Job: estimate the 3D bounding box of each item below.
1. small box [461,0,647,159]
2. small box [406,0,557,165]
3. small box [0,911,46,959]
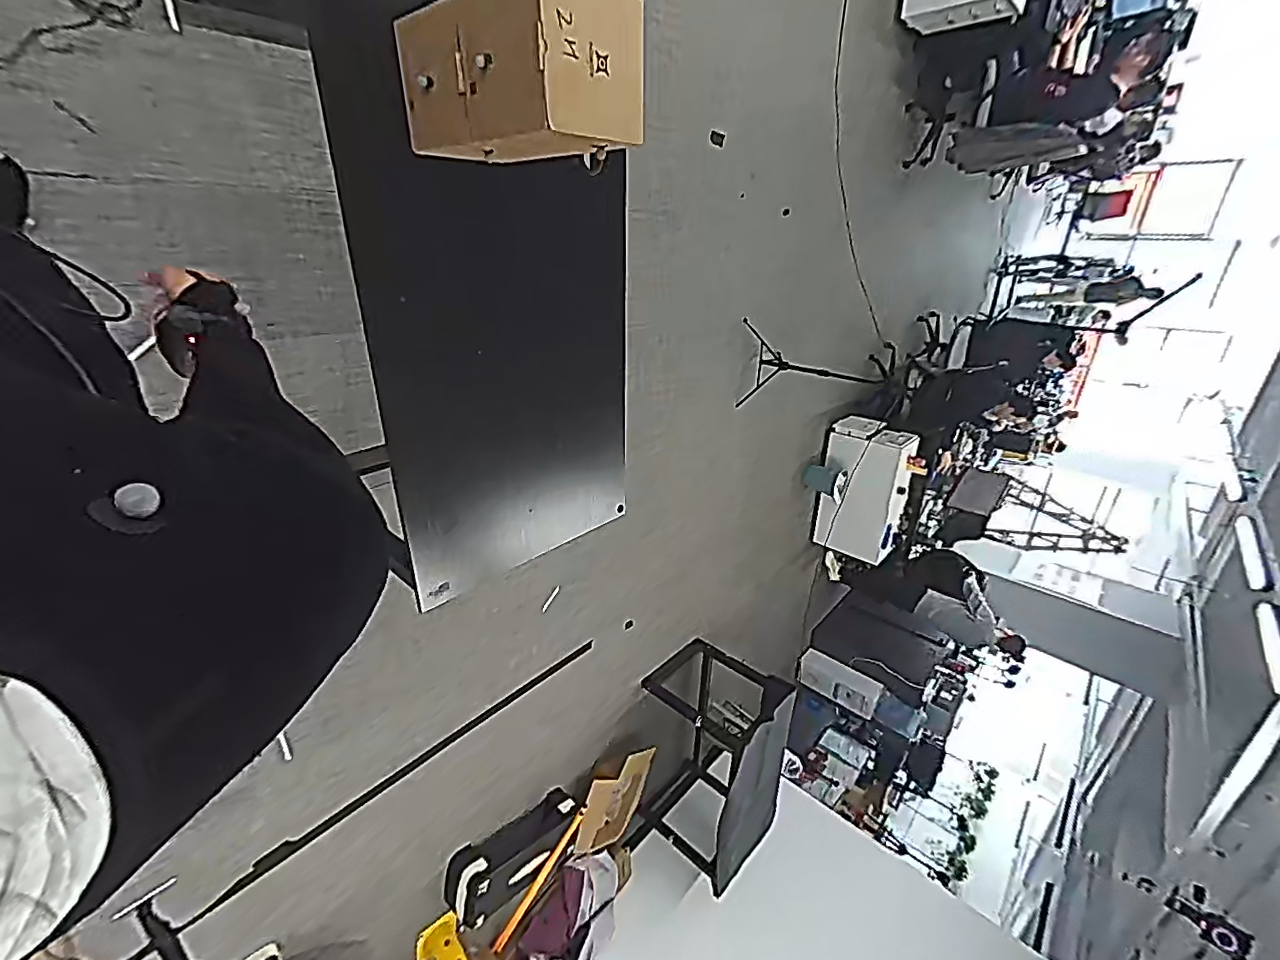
[{"bbox_3d":[-0.110,-0.534,0.719,0.179,0.176,0.168,-25,124,-42],"label":"small box"},{"bbox_3d":[-0.233,-0.580,0.819,0.179,0.176,0.168,-25,125,-41],"label":"small box"},{"bbox_3d":[-1.369,1.056,1.111,0.179,0.176,0.168,-22,123,-42],"label":"small box"}]
